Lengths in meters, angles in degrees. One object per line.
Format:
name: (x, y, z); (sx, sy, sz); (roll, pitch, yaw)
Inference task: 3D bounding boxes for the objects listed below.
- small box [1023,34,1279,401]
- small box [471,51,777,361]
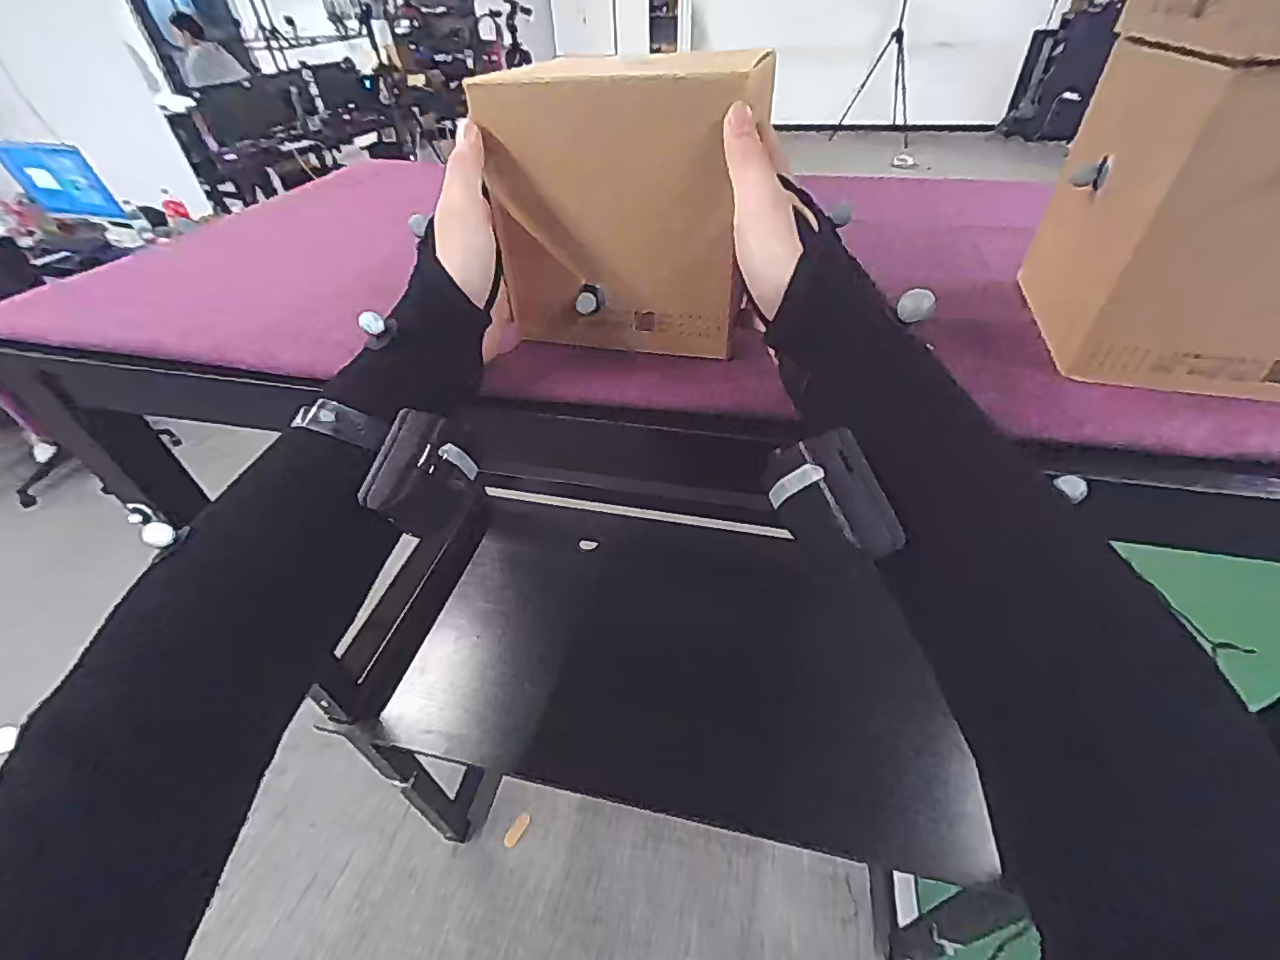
small box: (0.375, -0.167, 0.338); (0.168, 0.176, 0.179); (9, 43, 15)
small box: (0.003, -0.210, 0.408); (0.168, 0.176, 0.179); (8, 42, 13)
